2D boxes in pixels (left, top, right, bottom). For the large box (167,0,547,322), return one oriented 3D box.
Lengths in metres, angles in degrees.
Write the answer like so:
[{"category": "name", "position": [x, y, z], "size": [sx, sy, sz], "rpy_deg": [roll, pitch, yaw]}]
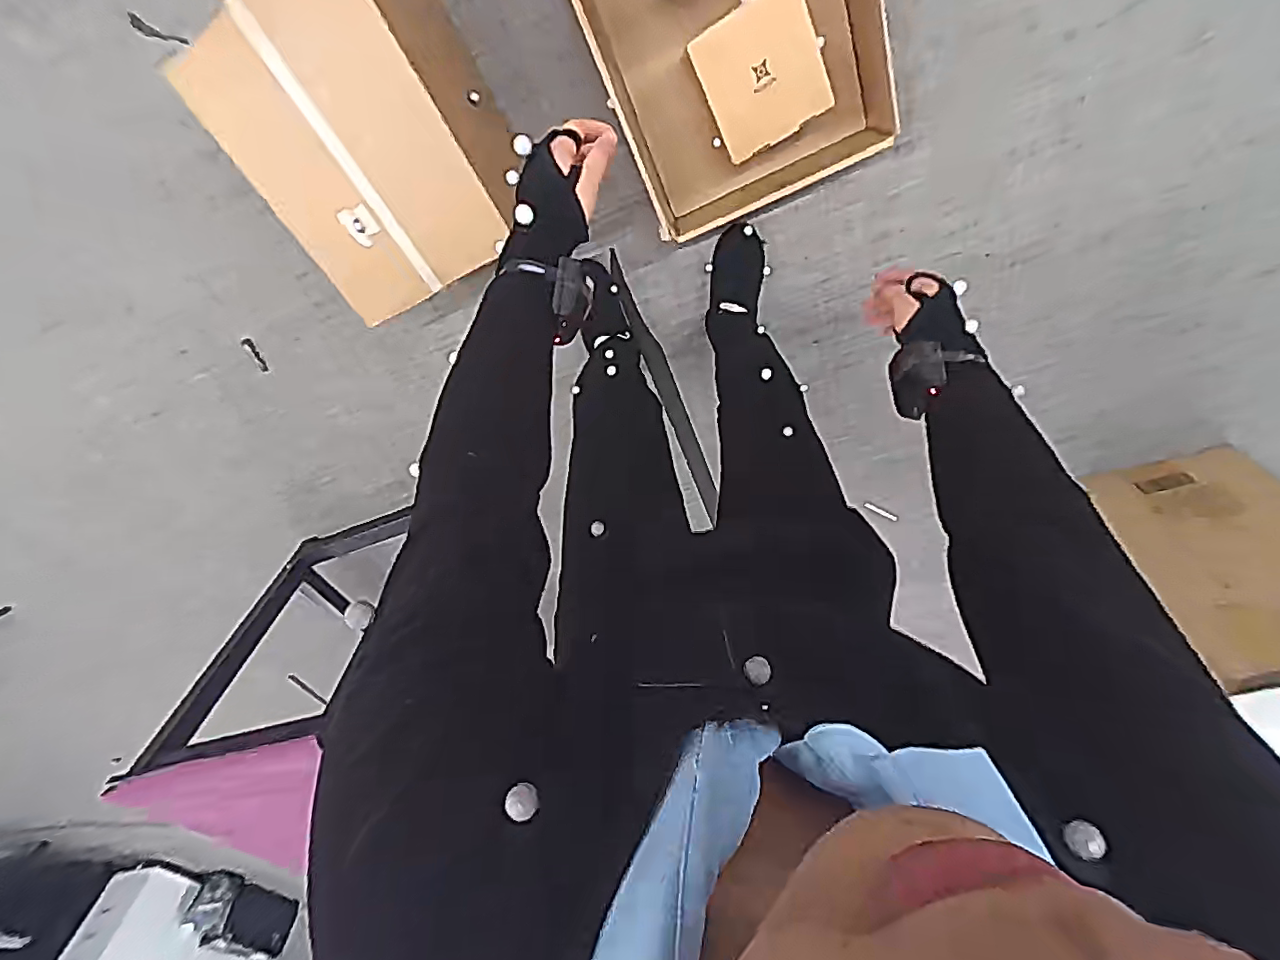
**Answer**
[{"category": "large box", "position": [-0.406, -0.554, 0.896], "size": [0.320, 0.320, 0.408], "rpy_deg": [-20, 125, 18]}]
